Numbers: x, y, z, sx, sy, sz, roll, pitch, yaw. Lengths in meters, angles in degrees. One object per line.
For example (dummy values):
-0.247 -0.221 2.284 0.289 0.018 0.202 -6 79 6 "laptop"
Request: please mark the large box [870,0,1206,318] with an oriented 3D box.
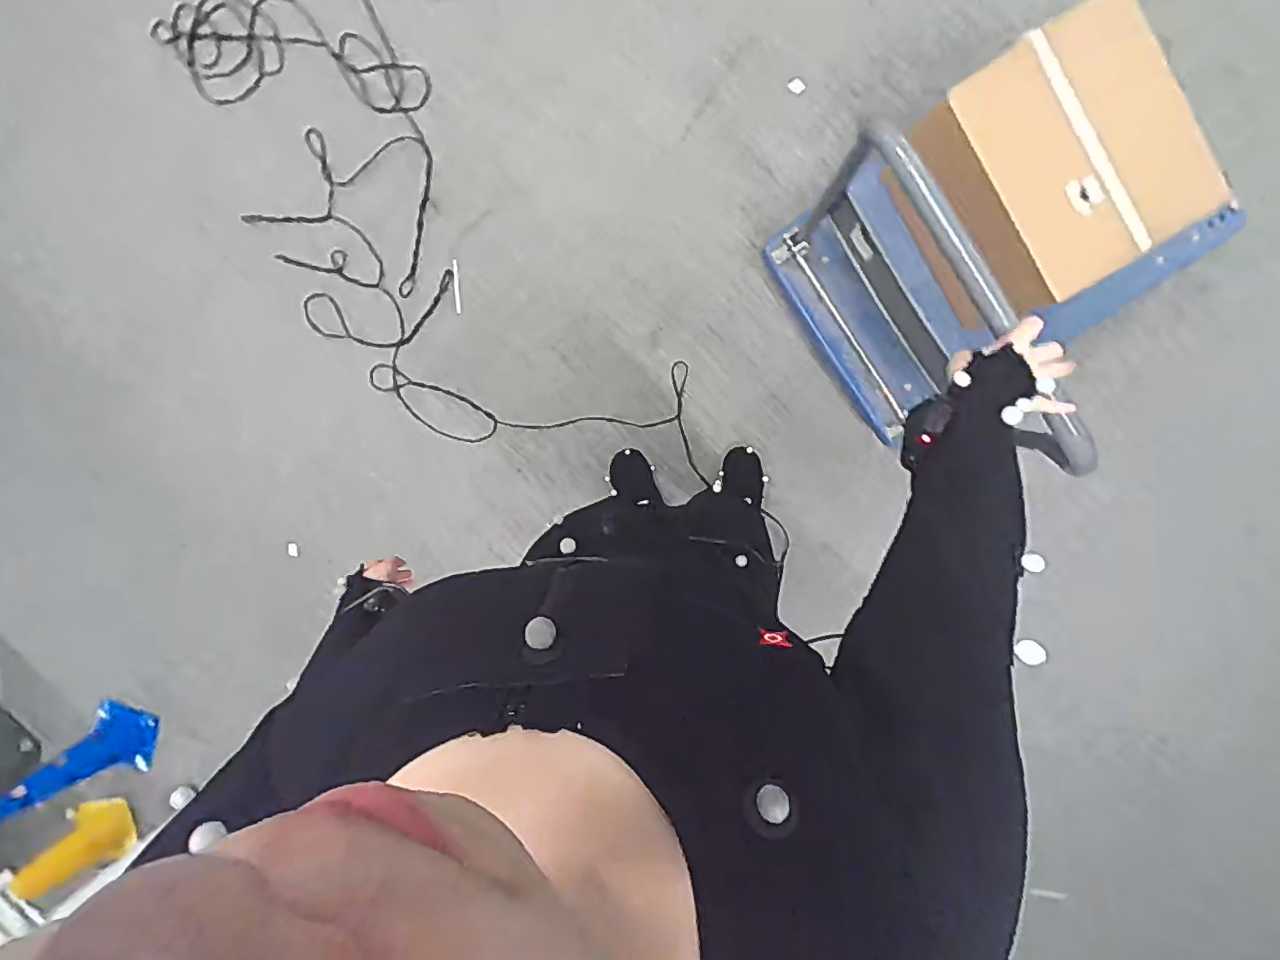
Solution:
0.736 -0.593 1.065 0.320 0.320 0.408 -32 95 8 "large box"
